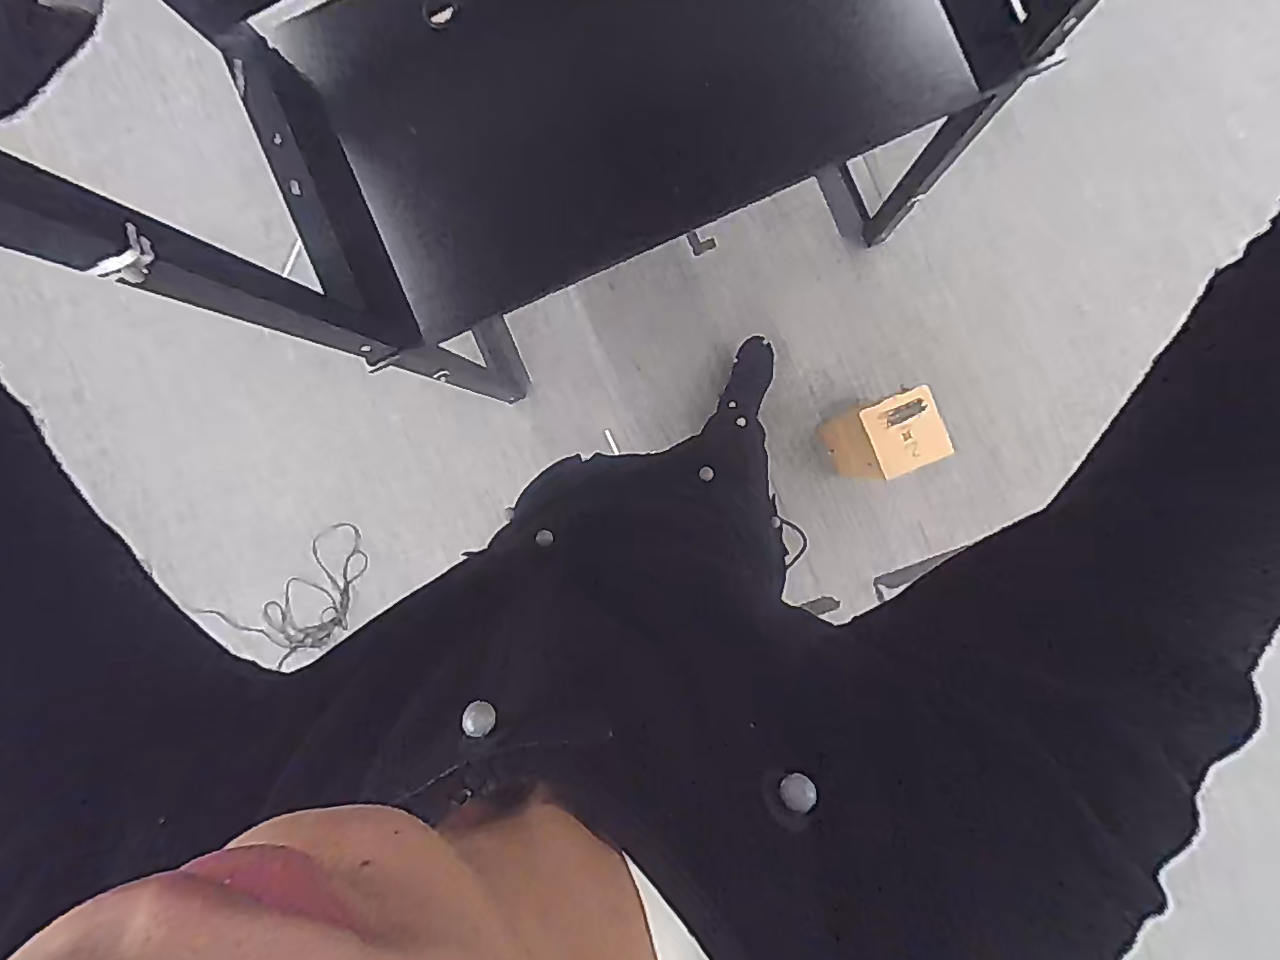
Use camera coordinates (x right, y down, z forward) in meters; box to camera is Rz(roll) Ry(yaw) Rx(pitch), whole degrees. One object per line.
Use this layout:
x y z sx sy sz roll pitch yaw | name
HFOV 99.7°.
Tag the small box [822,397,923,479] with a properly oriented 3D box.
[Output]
0.626 -0.113 1.476 0.179 0.176 0.168 -24 89 6 | small box
